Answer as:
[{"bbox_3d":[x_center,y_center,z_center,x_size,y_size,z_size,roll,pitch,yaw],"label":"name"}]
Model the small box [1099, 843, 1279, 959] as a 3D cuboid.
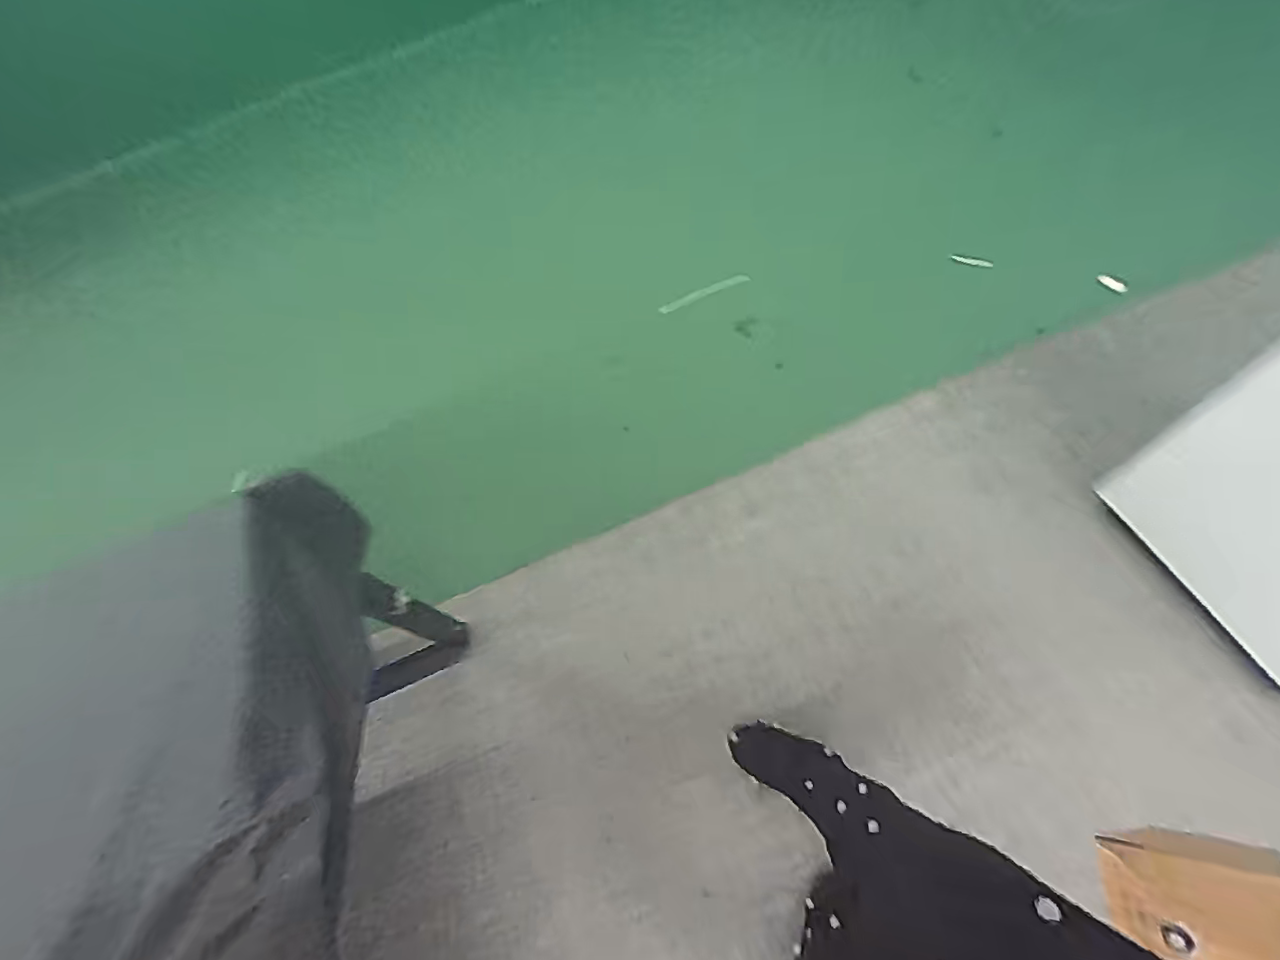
[{"bbox_3d":[0.566,0.454,0.498,0.179,0.176,0.168,18,65,-30],"label":"small box"}]
